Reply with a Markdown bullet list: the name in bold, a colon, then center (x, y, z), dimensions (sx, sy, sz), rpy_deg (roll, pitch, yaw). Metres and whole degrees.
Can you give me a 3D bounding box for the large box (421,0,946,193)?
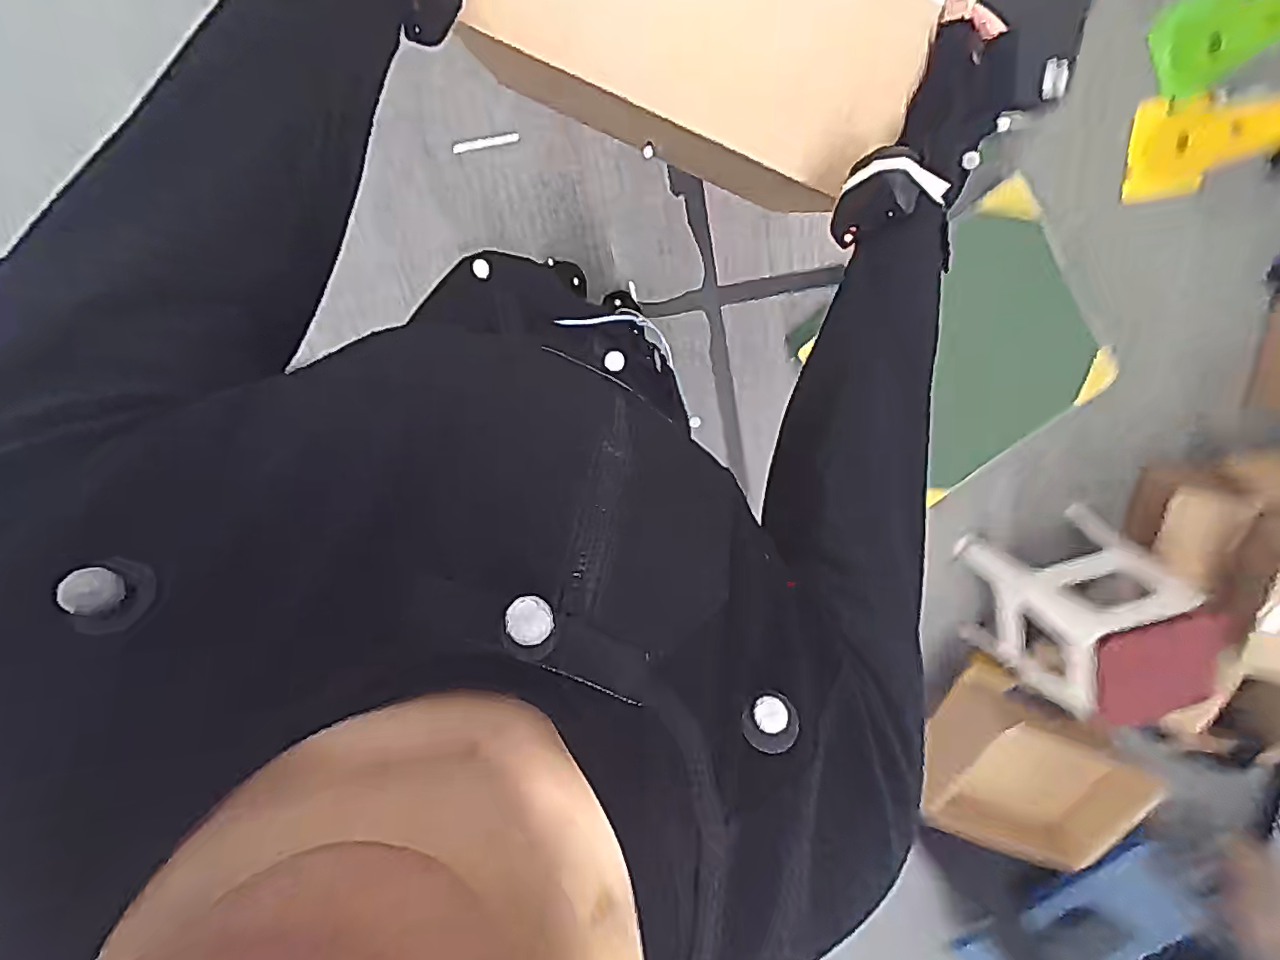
- **large box**: center (0.061, -0.513, 0.529), dimensions (0.408, 0.320, 0.320), rpy_deg (18, 114, -10)
